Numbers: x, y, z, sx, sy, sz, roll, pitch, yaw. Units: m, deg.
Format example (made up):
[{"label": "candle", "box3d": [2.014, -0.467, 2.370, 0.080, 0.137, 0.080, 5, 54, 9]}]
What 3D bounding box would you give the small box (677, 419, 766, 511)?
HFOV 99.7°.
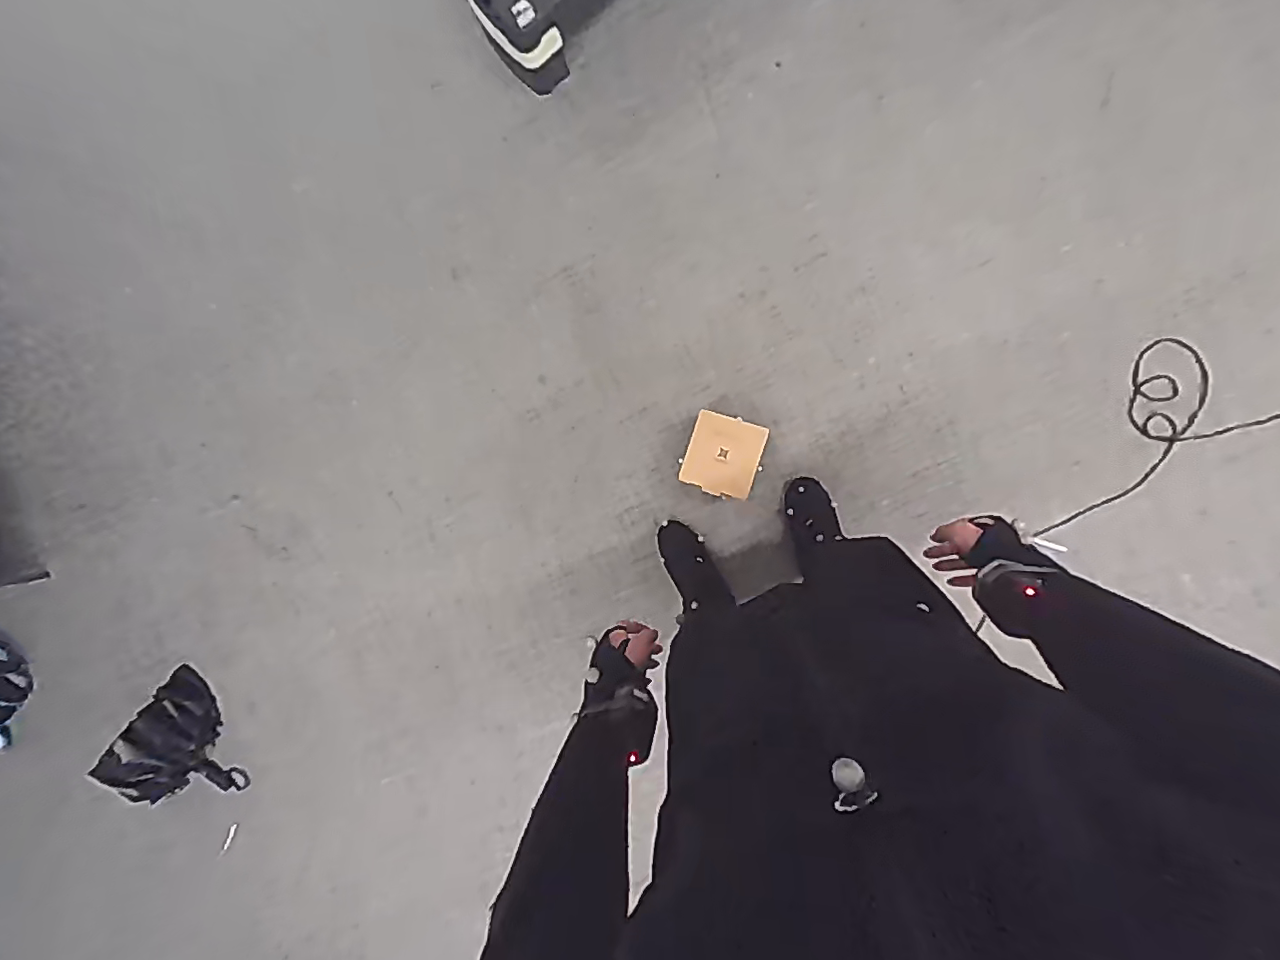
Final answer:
[{"label": "small box", "box3d": [0.198, -0.036, 1.319, 0.168, 0.176, 0.179, 17, 93, 6]}]
